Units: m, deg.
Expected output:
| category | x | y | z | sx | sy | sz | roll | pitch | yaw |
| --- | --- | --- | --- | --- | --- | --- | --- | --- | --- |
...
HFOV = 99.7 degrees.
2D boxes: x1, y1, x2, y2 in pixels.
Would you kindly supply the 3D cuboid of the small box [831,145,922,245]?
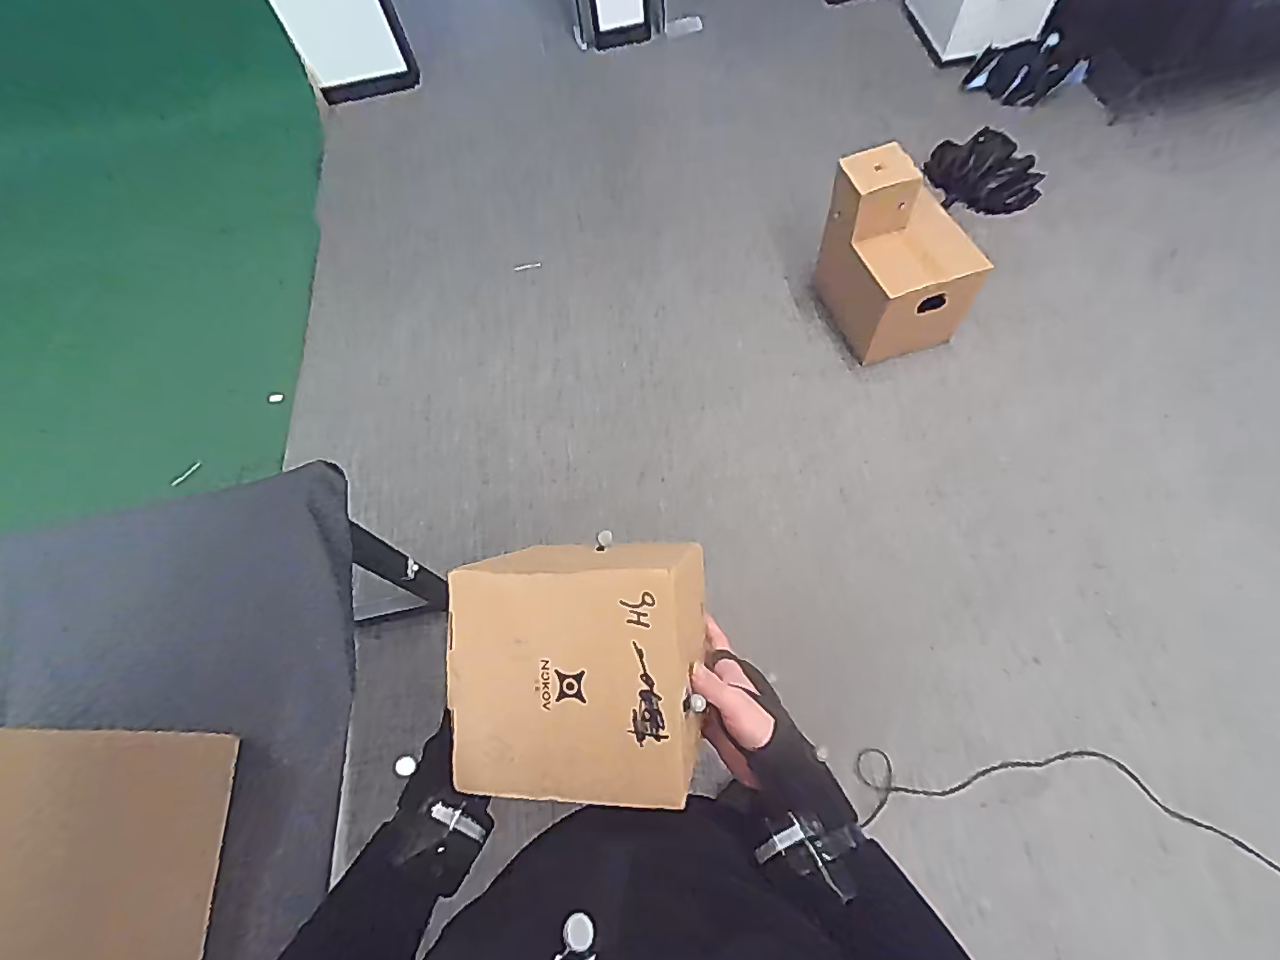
| category | x | y | z | sx | sy | sz | roll | pitch | yaw |
| --- | --- | --- | --- | --- | --- | --- | --- | --- | --- |
| small box | 0.679 | -0.823 | 1.573 | 0.179 | 0.176 | 0.168 | -17 | 62 | 3 |
